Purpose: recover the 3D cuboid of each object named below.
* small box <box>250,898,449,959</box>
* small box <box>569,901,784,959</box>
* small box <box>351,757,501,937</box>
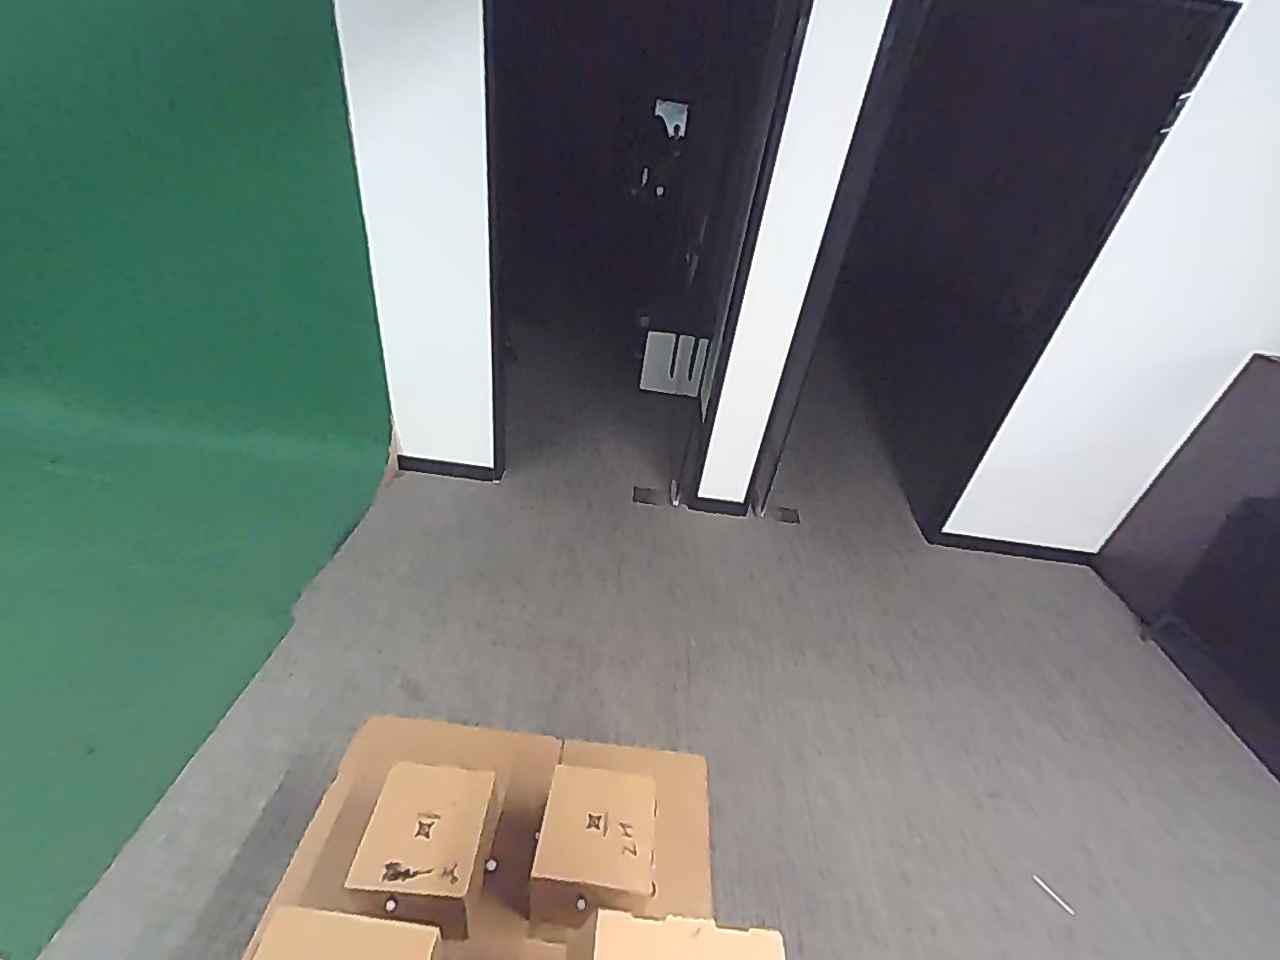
[{"bbox_3d":[-0.314,0.571,0.558,0.179,0.176,0.168,9,35,0],"label":"small box"},{"bbox_3d":[0.020,0.481,0.444,0.168,0.176,0.179,11,40,-5],"label":"small box"},{"bbox_3d":[-0.320,0.571,0.847,0.168,0.176,0.179,6,33,-1],"label":"small box"}]
